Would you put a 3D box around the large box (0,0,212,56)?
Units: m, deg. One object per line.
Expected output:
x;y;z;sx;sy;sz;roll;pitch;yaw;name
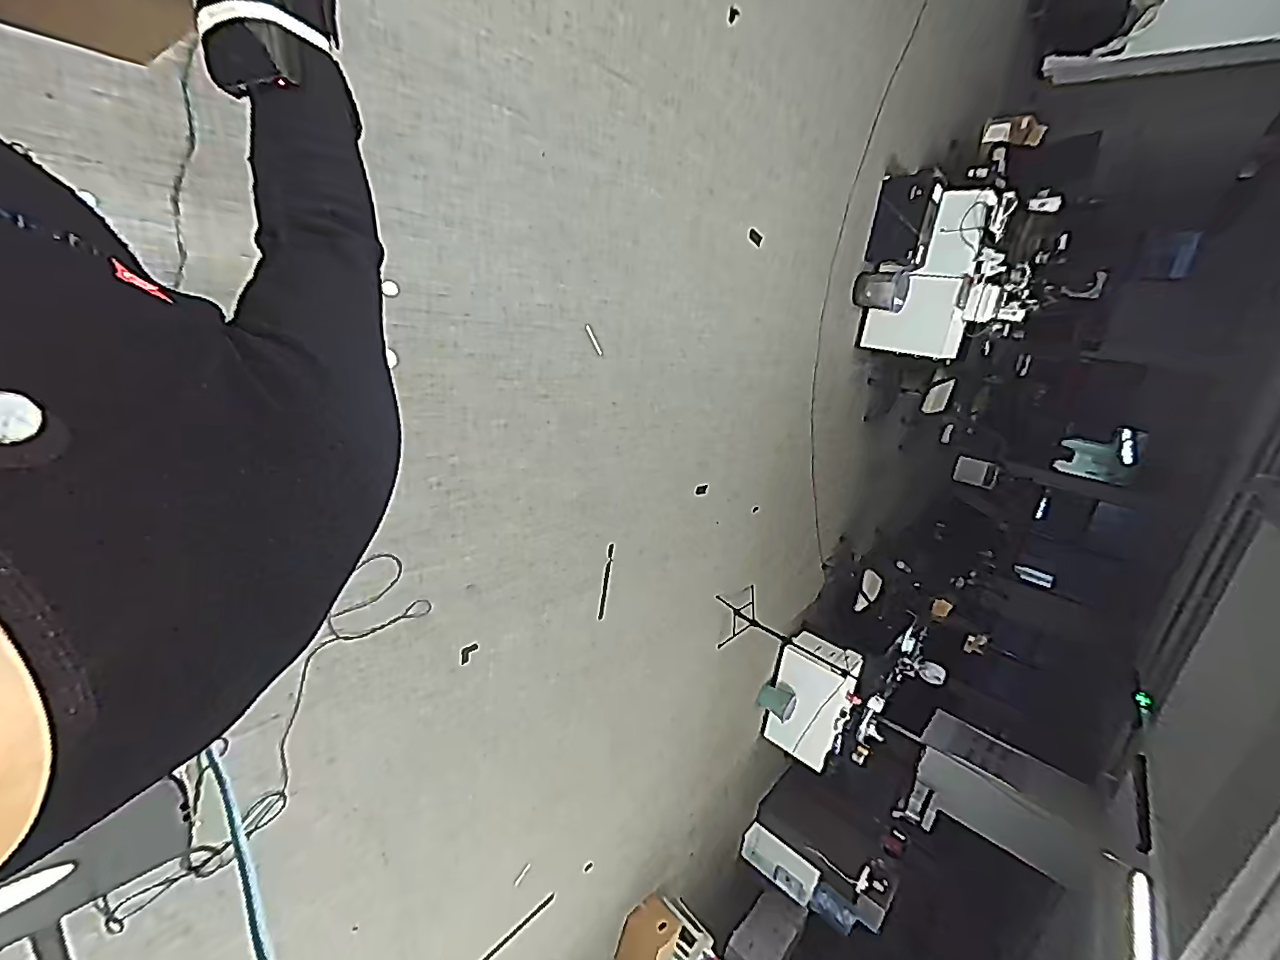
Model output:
-0.503;-0.492;0.269;0.408;0.320;0.320;-15;119;-48;large box
